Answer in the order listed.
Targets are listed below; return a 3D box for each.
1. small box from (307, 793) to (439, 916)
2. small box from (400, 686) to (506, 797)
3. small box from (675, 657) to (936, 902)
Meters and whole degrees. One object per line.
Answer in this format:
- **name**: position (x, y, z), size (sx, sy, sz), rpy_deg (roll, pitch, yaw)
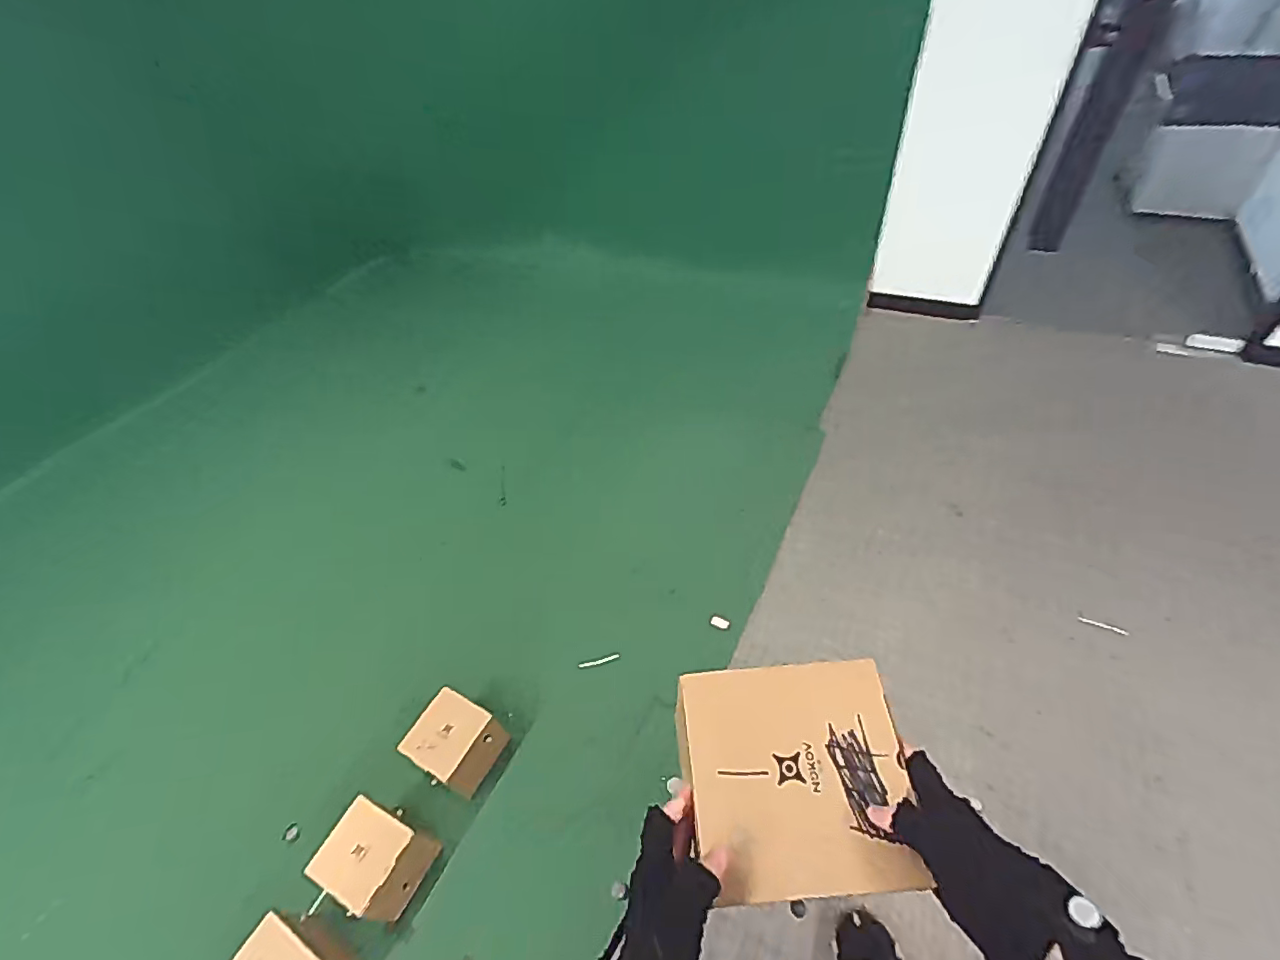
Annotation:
- **small box**: position (-0.599, 0.858, 1.233), size (0.179, 0.176, 0.168), rpy_deg (18, 53, 21)
- **small box**: position (-0.465, 0.669, 1.382), size (0.168, 0.176, 0.179), rpy_deg (20, 53, 24)
- **small box**: position (0.128, 0.276, 0.502), size (0.179, 0.176, 0.168), rpy_deg (-5, 54, 0)
